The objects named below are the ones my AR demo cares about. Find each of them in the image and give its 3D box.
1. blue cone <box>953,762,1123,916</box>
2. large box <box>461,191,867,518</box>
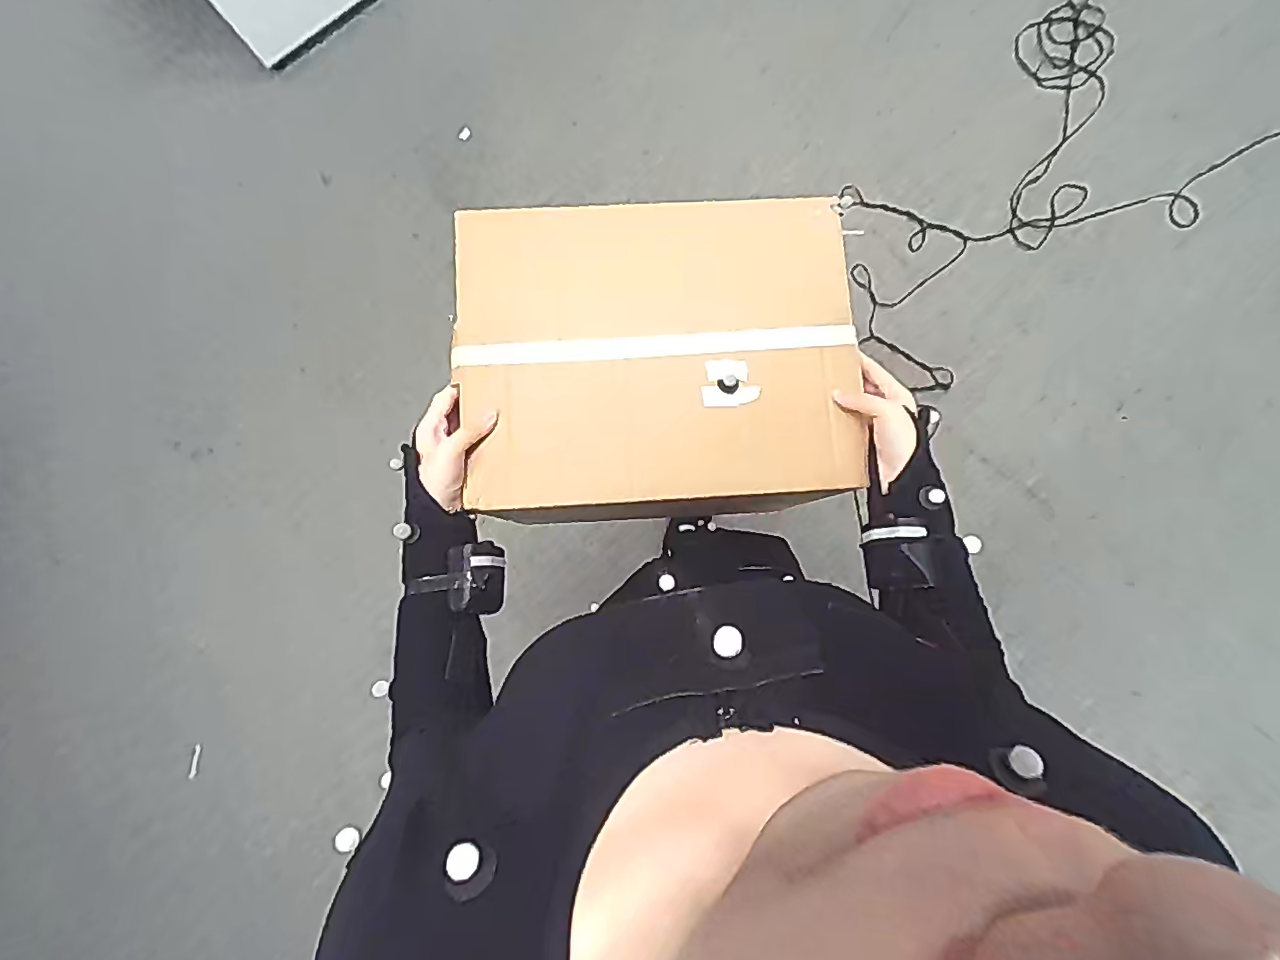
[{"bbox_3d":[0.882,0.798,1.179,0.193,0.380,0.192,-32,81,0],"label":"blue cone"},{"bbox_3d":[0.013,-0.128,0.700,0.408,0.320,0.320,-4,83,-4],"label":"large box"}]
